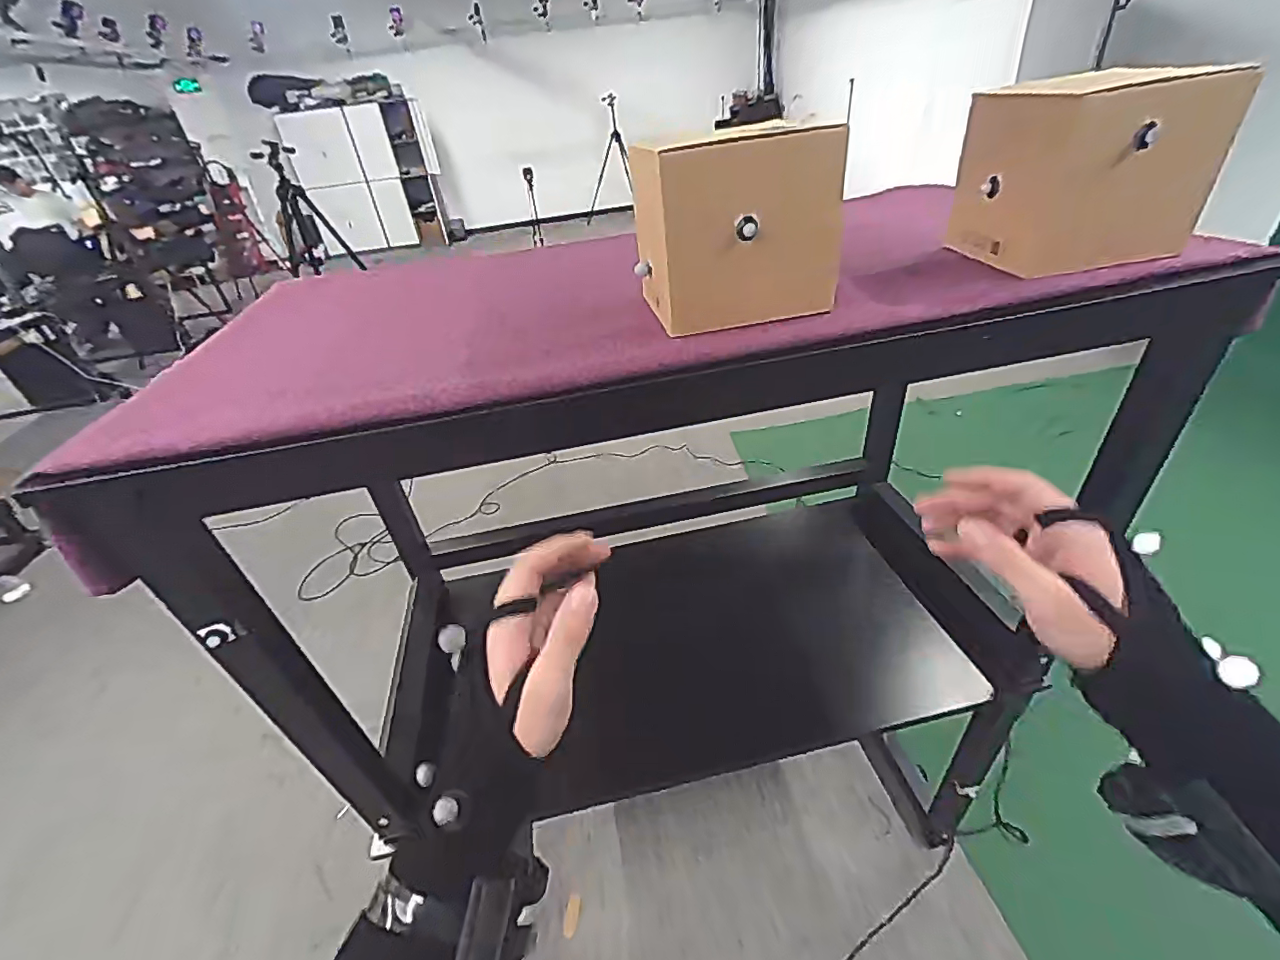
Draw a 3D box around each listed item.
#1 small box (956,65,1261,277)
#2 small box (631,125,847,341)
[{"bbox_3d":[0.479,-0.334,0.595,0.179,0.176,0.168,-9,36,0],"label":"small box"},{"bbox_3d":[0.095,-0.266,0.577,0.179,0.176,0.168,-12,34,-3],"label":"small box"}]
